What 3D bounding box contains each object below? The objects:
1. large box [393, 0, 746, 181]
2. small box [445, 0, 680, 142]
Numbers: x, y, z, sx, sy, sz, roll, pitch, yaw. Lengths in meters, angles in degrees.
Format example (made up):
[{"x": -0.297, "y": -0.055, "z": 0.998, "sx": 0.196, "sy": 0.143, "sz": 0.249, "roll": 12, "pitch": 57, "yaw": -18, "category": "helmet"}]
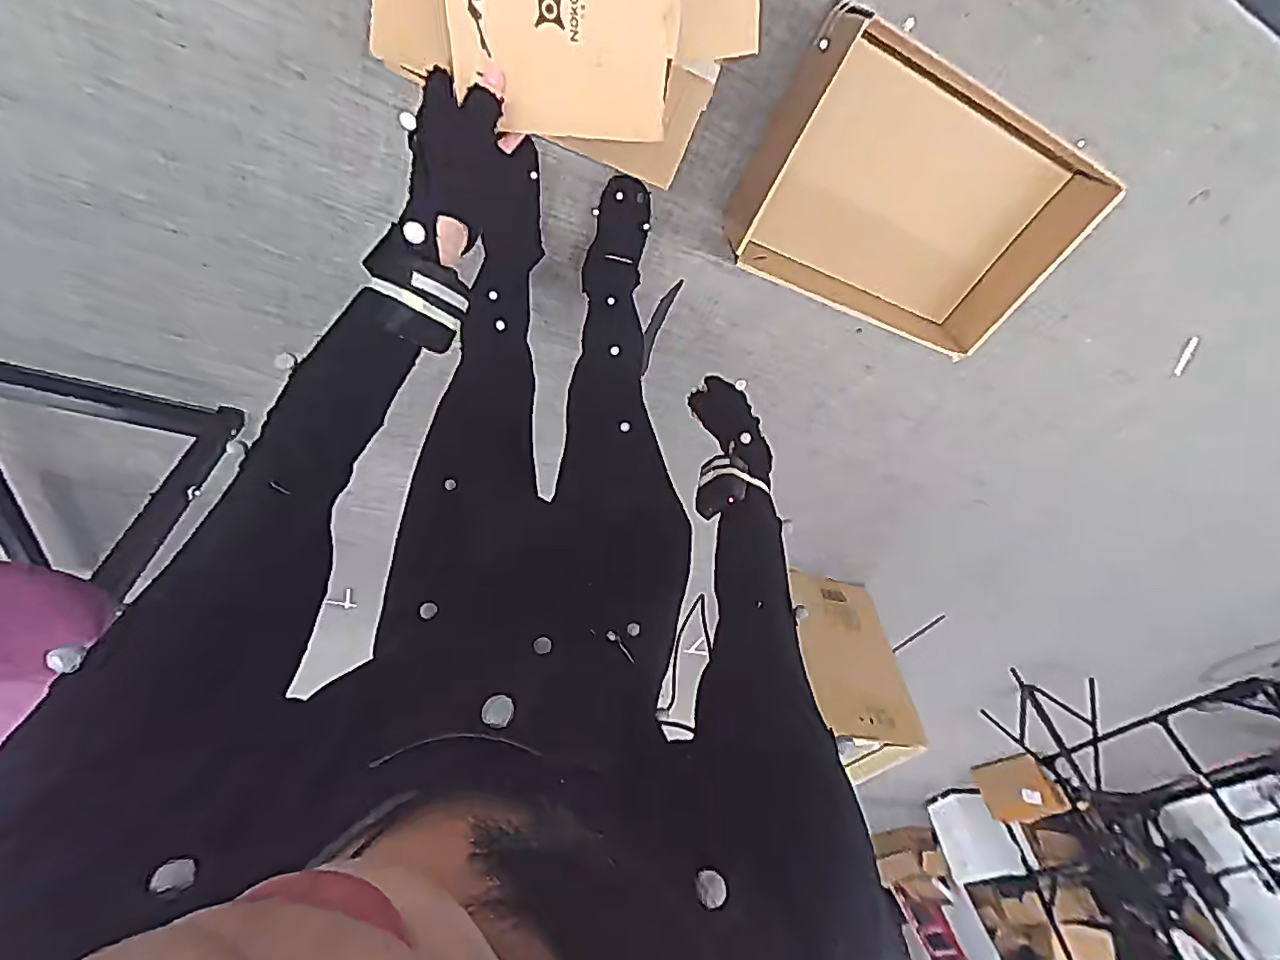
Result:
[{"x": -0.092, "y": -0.692, "z": 0.755, "sx": 0.408, "sy": 0.320, "sz": 0.320, "roll": 13, "pitch": 133, "yaw": -18, "category": "large box"}, {"x": -0.063, "y": -0.410, "z": 0.461, "sx": 0.179, "sy": 0.176, "sz": 0.168, "roll": 1, "pitch": 134, "yaw": -6, "category": "small box"}]
